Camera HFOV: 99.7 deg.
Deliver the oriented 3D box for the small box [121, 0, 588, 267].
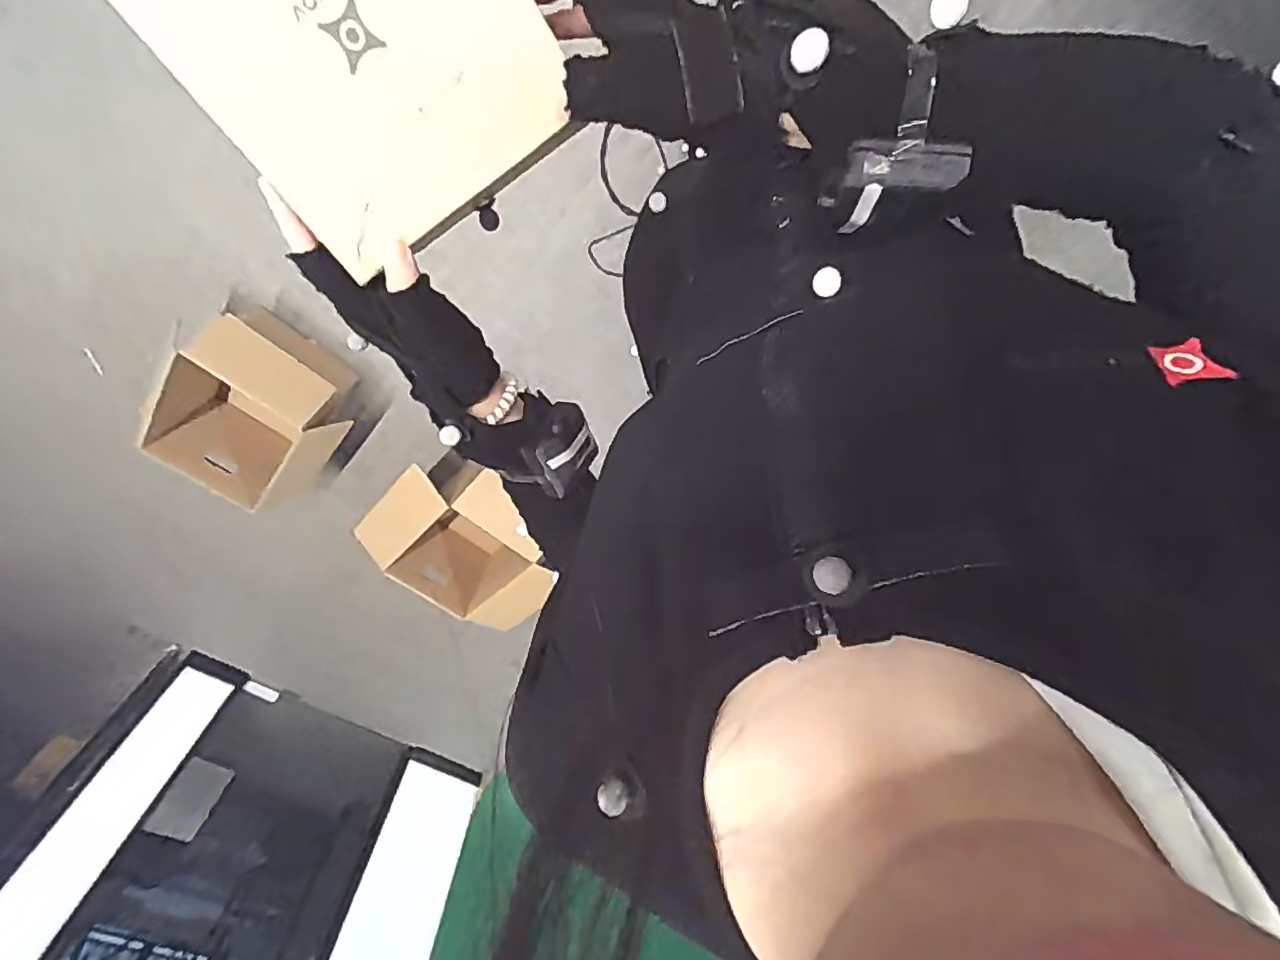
[{"bbox_3d":[-0.147,-0.260,0.324,0.168,0.176,0.179,-30,120,12],"label":"small box"}]
